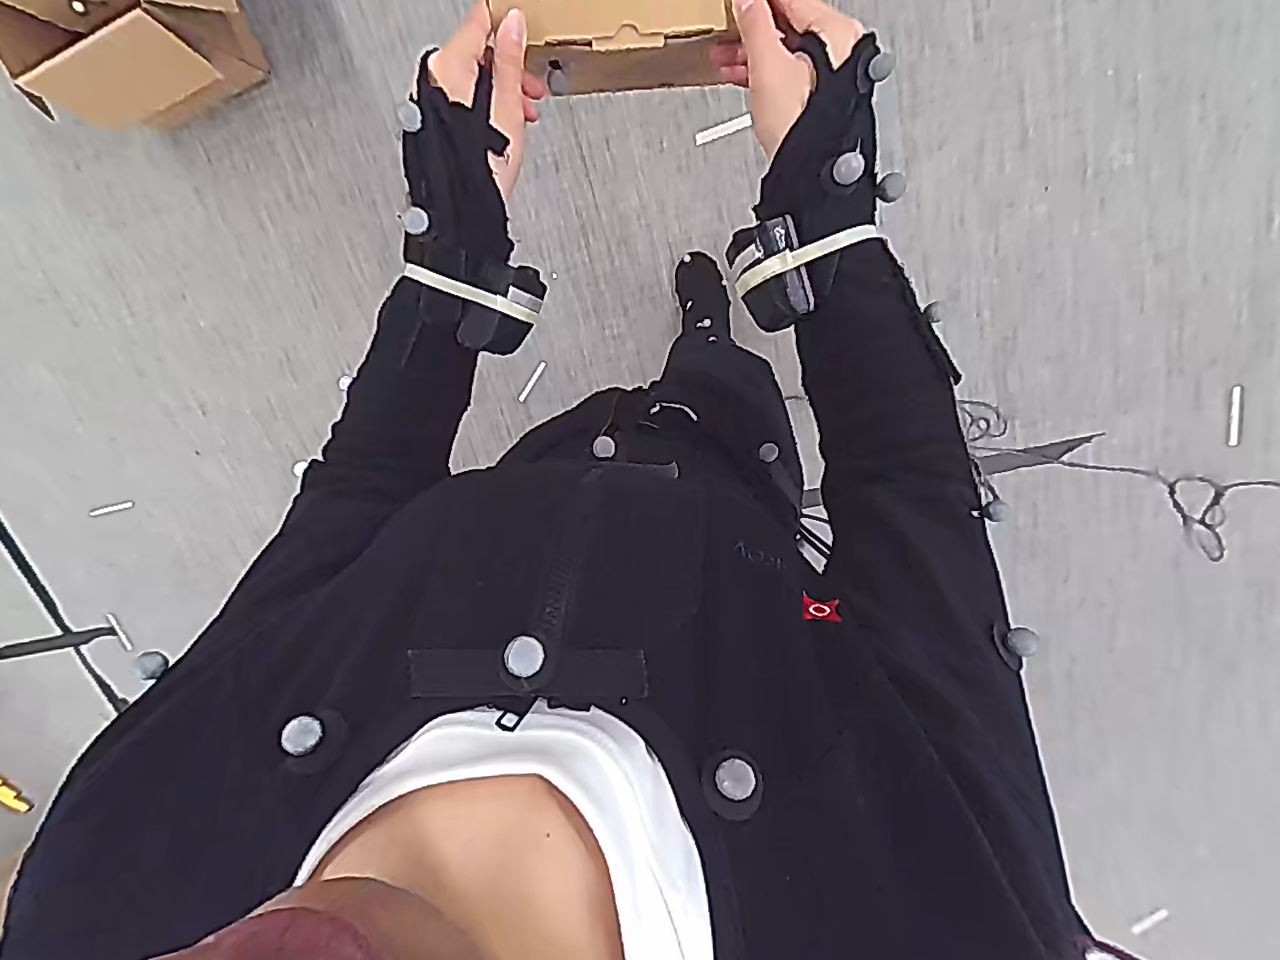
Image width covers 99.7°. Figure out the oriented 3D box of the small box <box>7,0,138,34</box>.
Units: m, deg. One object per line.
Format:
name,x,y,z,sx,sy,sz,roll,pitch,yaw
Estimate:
small box,-1.050,-0.934,0.935,0.168,0.176,0.179,-16,106,11
